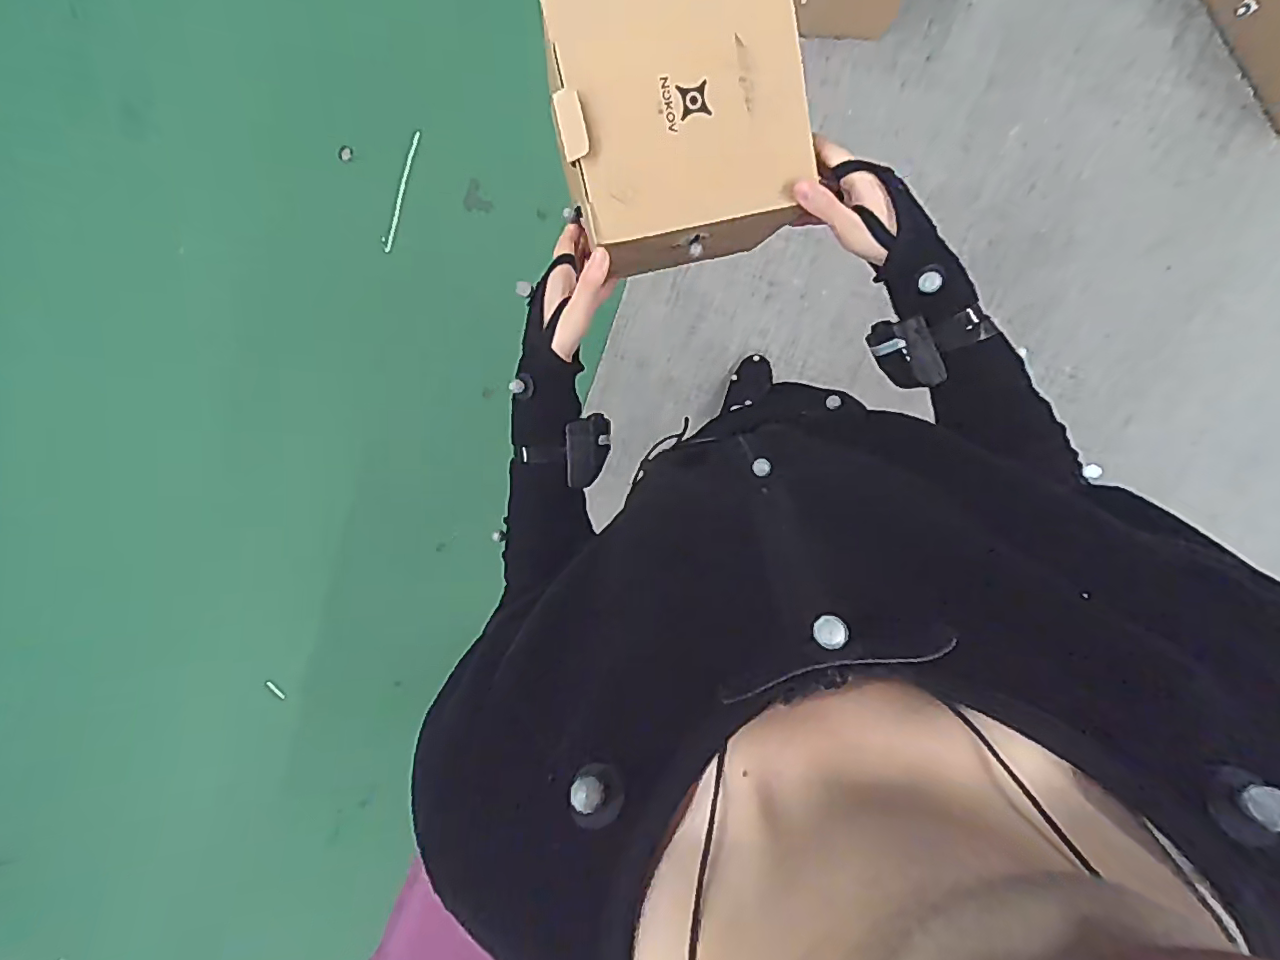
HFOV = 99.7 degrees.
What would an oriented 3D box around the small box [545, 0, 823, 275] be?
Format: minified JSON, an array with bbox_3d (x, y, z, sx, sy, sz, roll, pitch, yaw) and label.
[{"bbox_3d":[0.029,-0.286,0.459,0.179,0.176,0.168,-13,102,-3],"label":"small box"}]

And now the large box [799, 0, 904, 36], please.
[{"bbox_3d":[0.376,-1.183,1.117,0.408,0.320,0.320,7,100,7],"label":"large box"}]
